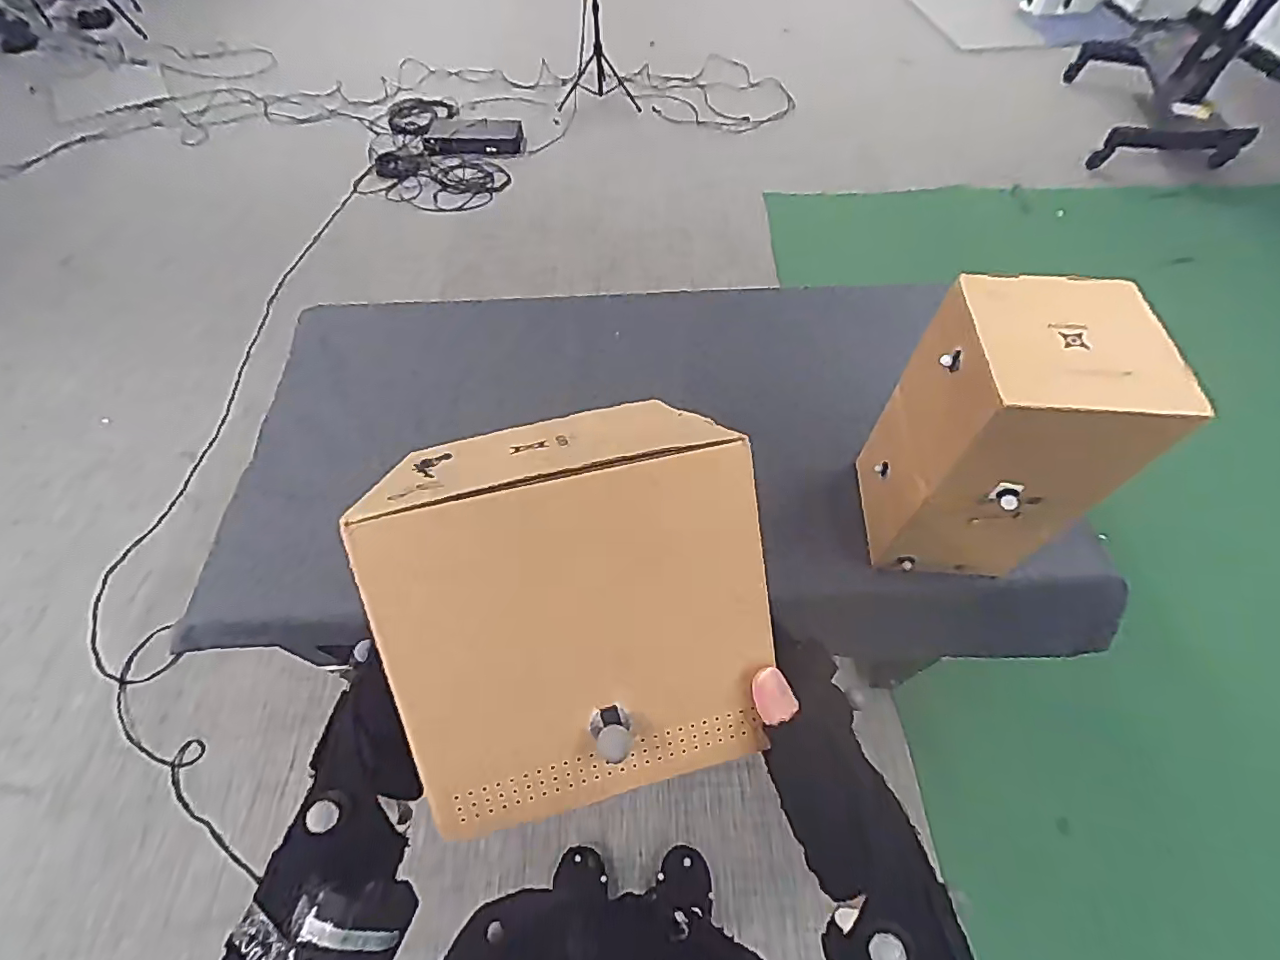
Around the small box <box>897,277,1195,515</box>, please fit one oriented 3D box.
[{"bbox_3d":[0.388,-0.084,0.563,0.168,0.176,0.179,4,58,5],"label":"small box"}]

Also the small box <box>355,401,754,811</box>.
[{"bbox_3d":[-0.039,0.056,0.333,0.179,0.176,0.168,-12,16,-10],"label":"small box"}]

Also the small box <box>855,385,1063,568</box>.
[{"bbox_3d":[0.393,0.001,0.701,0.168,0.176,0.179,4,56,4],"label":"small box"}]
